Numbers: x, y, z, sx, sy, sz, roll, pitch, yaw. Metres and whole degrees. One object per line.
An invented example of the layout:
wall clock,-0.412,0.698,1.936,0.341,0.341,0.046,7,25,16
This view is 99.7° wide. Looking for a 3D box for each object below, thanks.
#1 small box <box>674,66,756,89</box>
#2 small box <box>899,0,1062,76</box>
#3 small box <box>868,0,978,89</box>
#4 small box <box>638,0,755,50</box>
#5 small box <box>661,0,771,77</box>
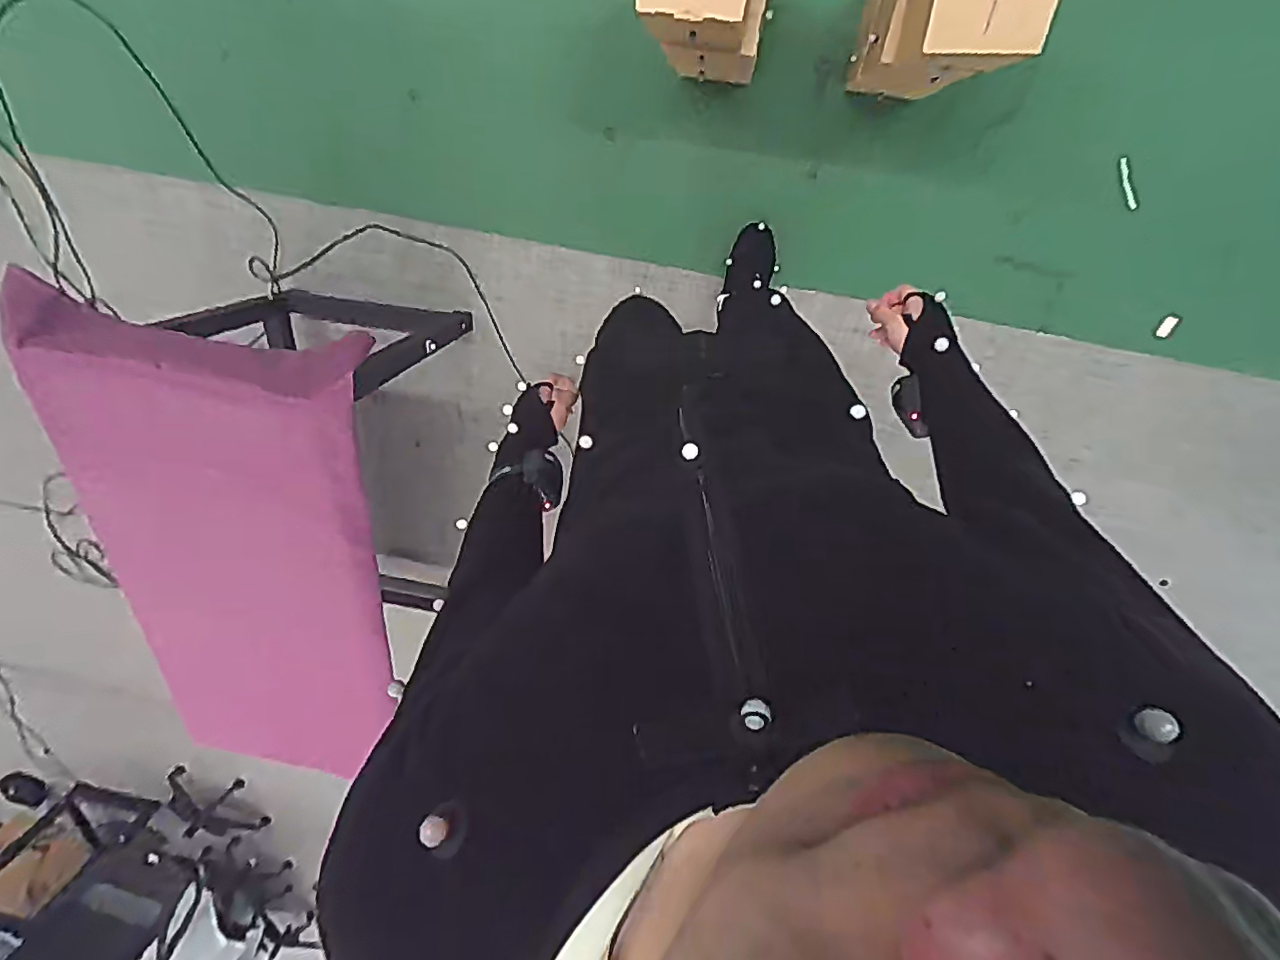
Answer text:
small box,0.173,-0.937,1.124,0.168,0.176,0.179,11,119,5
small box,0.507,-0.723,0.804,0.168,0.176,0.179,5,122,6
small box,0.516,-0.805,0.945,0.168,0.176,0.179,10,120,3
small box,0.101,-0.794,0.836,0.168,0.176,0.179,12,120,5
small box,0.144,-0.856,0.984,0.179,0.176,0.168,10,119,4
